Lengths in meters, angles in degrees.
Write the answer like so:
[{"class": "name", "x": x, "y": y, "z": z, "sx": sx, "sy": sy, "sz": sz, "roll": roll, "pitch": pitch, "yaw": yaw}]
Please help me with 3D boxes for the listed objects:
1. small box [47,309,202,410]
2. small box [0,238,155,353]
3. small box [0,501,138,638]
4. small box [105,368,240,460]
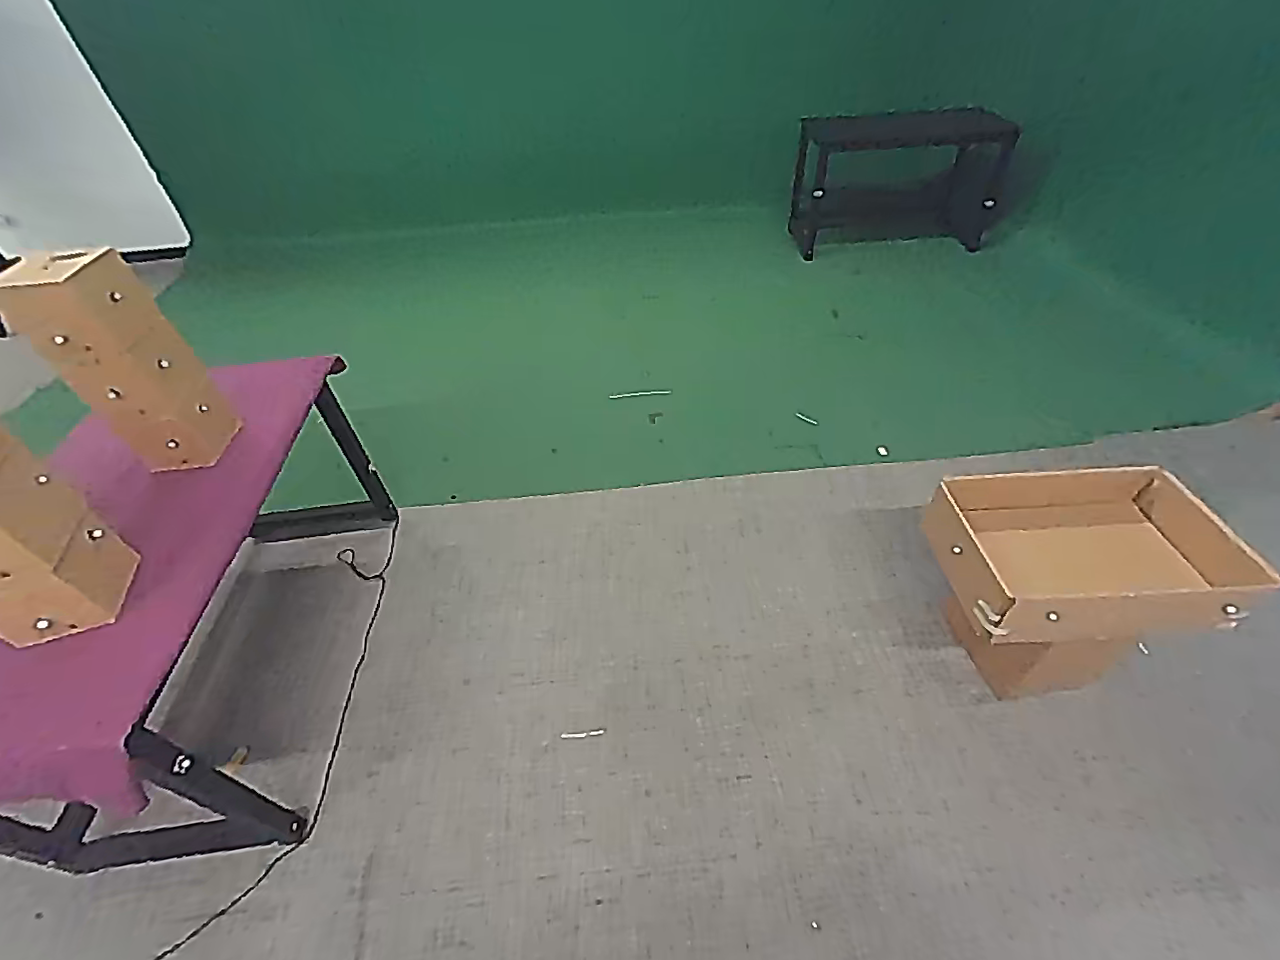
[{"class": "small box", "x": -1.188, "y": -0.276, "z": 1.268, "sx": 0.168, "sy": 0.176, "sz": 0.179, "roll": -5, "pitch": 47, "yaw": -3}, {"class": "small box", "x": -1.197, "y": -0.392, "z": 1.150, "sx": 0.168, "sy": 0.176, "sz": 0.179, "roll": -6, "pitch": 47, "yaw": -3}, {"class": "small box", "x": -1.139, "y": 0.174, "z": 1.050, "sx": 0.168, "sy": 0.176, "sz": 0.179, "roll": -16, "pitch": 47, "yaw": -11}, {"class": "small box", "x": -1.179, "y": -0.162, "z": 1.384, "sx": 0.168, "sy": 0.176, "sz": 0.179, "roll": -4, "pitch": 46, "yaw": -1}]
